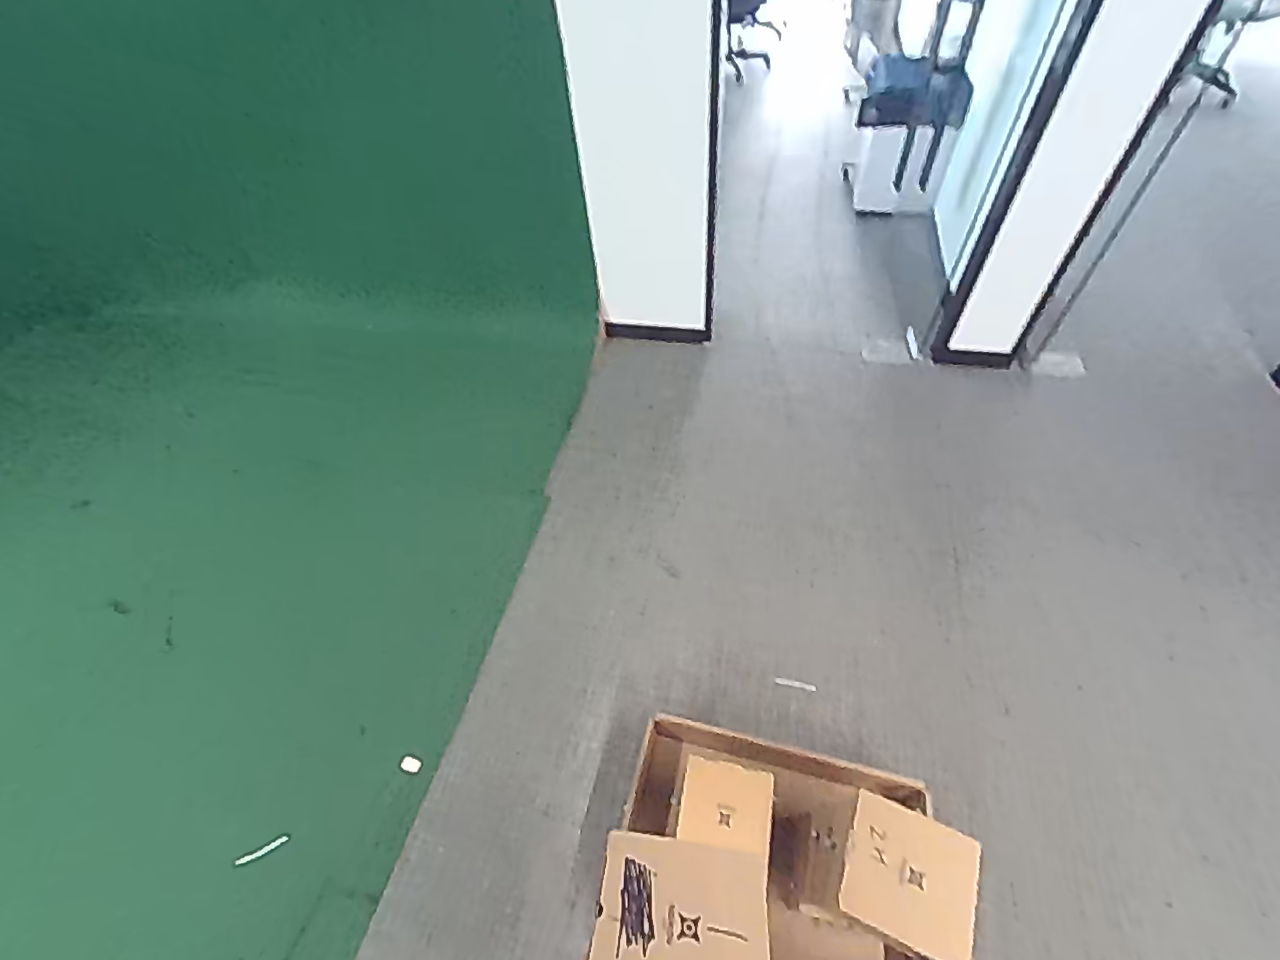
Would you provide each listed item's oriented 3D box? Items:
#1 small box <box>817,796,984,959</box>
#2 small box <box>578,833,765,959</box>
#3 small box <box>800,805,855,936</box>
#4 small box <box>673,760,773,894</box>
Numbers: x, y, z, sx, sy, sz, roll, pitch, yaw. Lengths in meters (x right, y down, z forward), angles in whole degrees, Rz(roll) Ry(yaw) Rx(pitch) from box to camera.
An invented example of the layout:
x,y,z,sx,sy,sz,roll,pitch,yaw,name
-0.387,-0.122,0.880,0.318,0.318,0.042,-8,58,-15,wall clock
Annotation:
x,y,z,sx,sy,sz,roll,pitch,yaw,name
0.390,0.619,0.828,0.179,0.176,0.168,18,56,20,small box
0.030,0.510,0.558,0.179,0.176,0.168,6,25,6,small box
0.397,0.710,0.967,0.179,0.176,0.168,12,54,15,small box
0.154,0.665,1.032,0.168,0.176,0.179,9,52,10,small box
